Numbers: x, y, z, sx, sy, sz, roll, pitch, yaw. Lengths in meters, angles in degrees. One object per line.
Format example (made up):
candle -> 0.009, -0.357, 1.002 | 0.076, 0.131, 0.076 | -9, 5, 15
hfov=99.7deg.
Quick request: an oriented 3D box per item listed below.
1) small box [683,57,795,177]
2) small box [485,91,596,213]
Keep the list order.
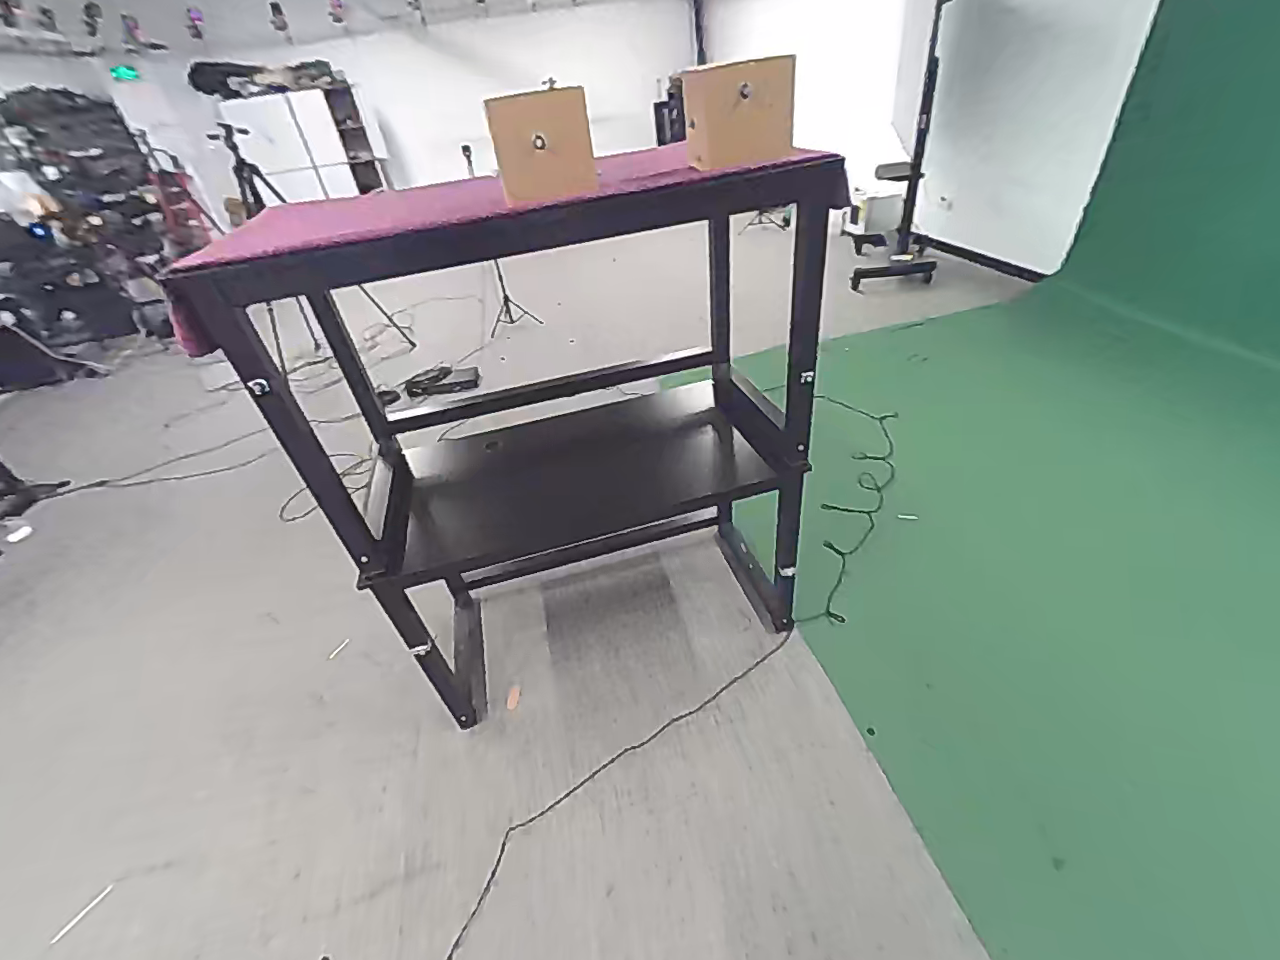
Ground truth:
small box -> 0.193, -0.713, 1.069 | 0.179, 0.176, 0.168 | -12, 38, -3
small box -> -0.185, -0.626, 1.030 | 0.179, 0.176, 0.168 | -14, 36, -6
